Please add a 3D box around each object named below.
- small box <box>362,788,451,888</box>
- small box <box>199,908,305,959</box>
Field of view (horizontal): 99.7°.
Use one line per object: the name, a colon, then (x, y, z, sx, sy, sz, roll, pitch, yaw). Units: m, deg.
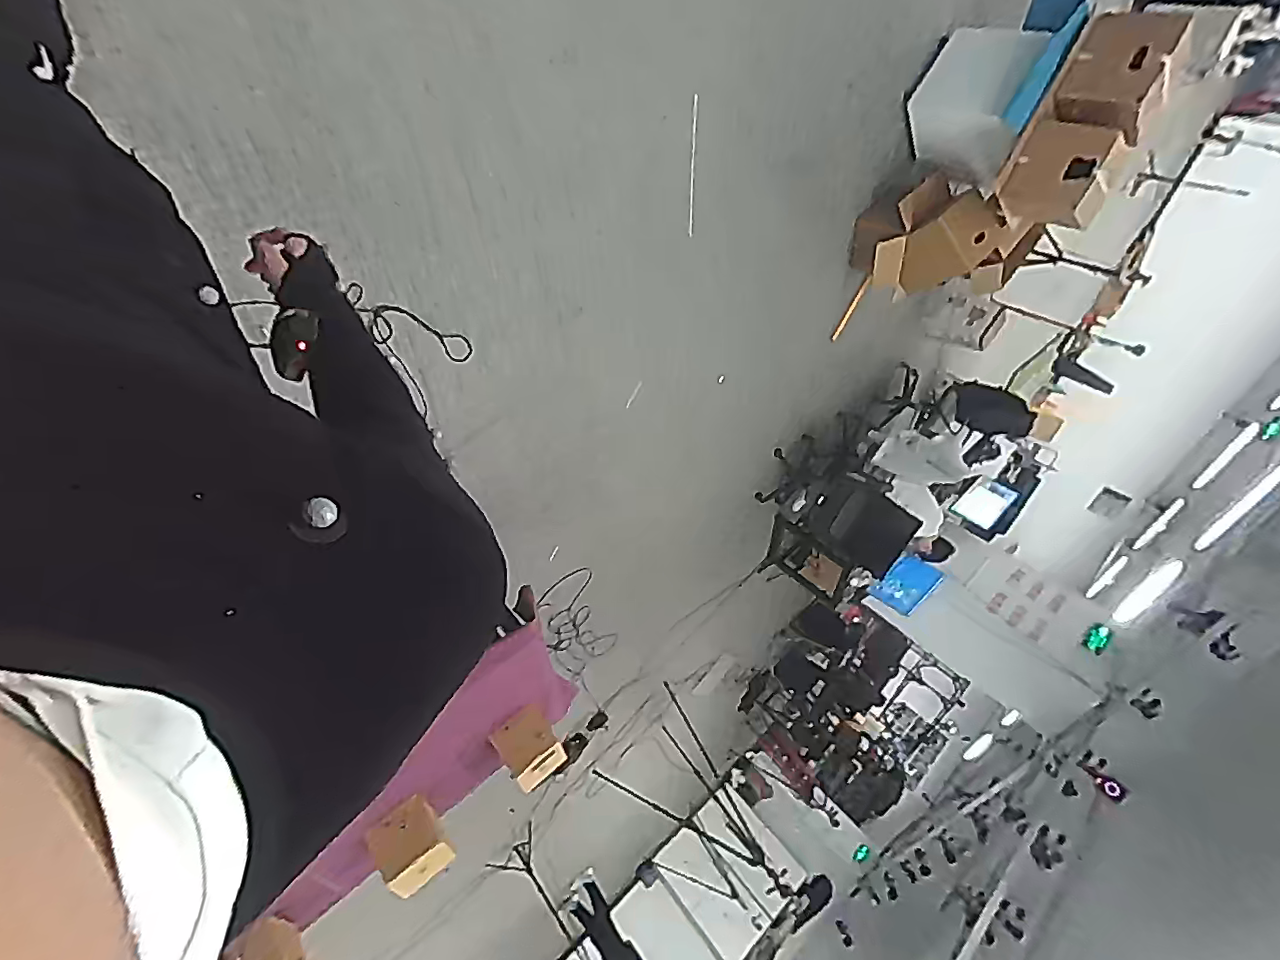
small box: (-0.694, 1.062, 1.612, 0.168, 0.176, 0.179, -31, 141, -28)
small box: (-1.013, 1.281, 1.424, 0.168, 0.176, 0.179, -33, 143, -30)
